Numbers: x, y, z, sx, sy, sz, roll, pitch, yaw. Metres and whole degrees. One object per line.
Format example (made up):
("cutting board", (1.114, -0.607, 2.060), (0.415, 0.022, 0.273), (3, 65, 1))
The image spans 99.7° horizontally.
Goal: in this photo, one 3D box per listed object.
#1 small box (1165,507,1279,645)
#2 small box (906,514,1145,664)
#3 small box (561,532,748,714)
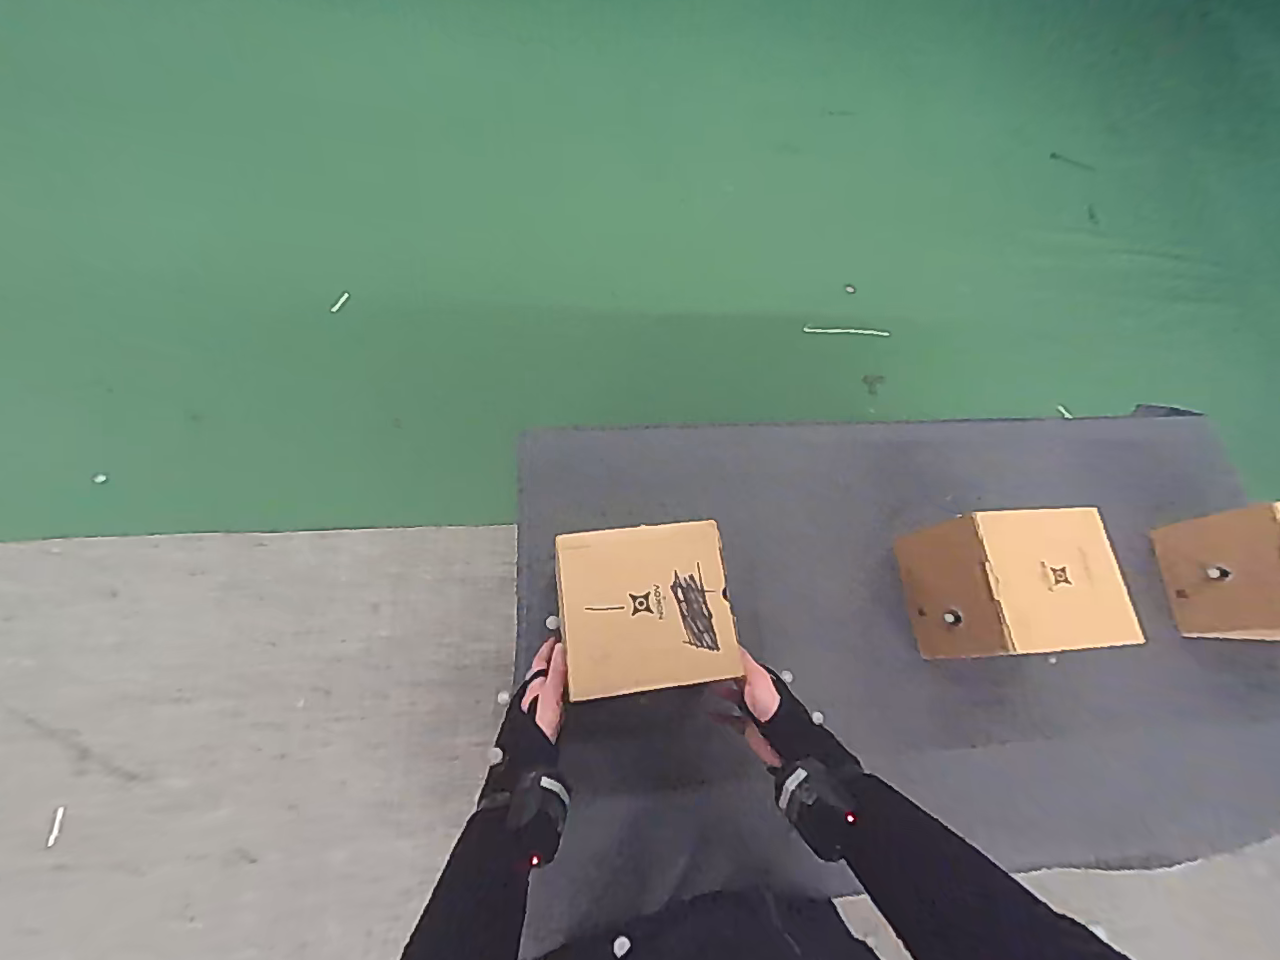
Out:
("small box", (0.911, 0.144, 0.770), (0.179, 0.176, 0.168), (4, 70, -7))
("small box", (0.479, 0.148, 0.707), (0.179, 0.176, 0.168), (-2, 71, -11))
("small box", (0.003, 0.167, 0.622), (0.179, 0.176, 0.168), (-5, 68, -10))
